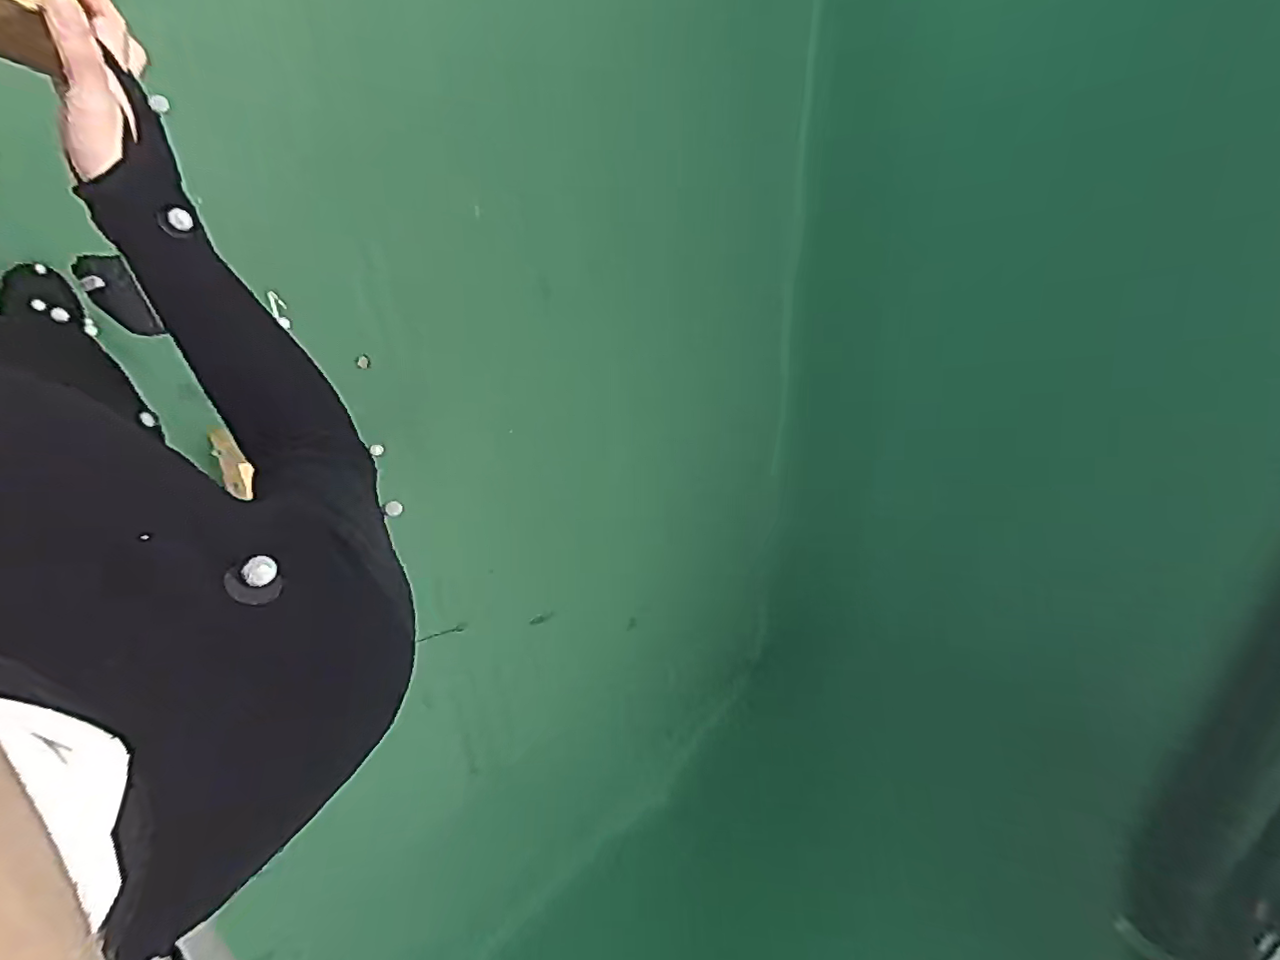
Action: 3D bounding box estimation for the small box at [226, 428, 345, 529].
[{"bbox_3d":[-0.821,-0.013,1.254,0.179,0.176,0.168,-21,121,-40],"label":"small box"}]

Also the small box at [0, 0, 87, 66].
[{"bbox_3d":[-0.448,-0.387,0.313,0.168,0.176,0.179,-5,111,-48],"label":"small box"}]
